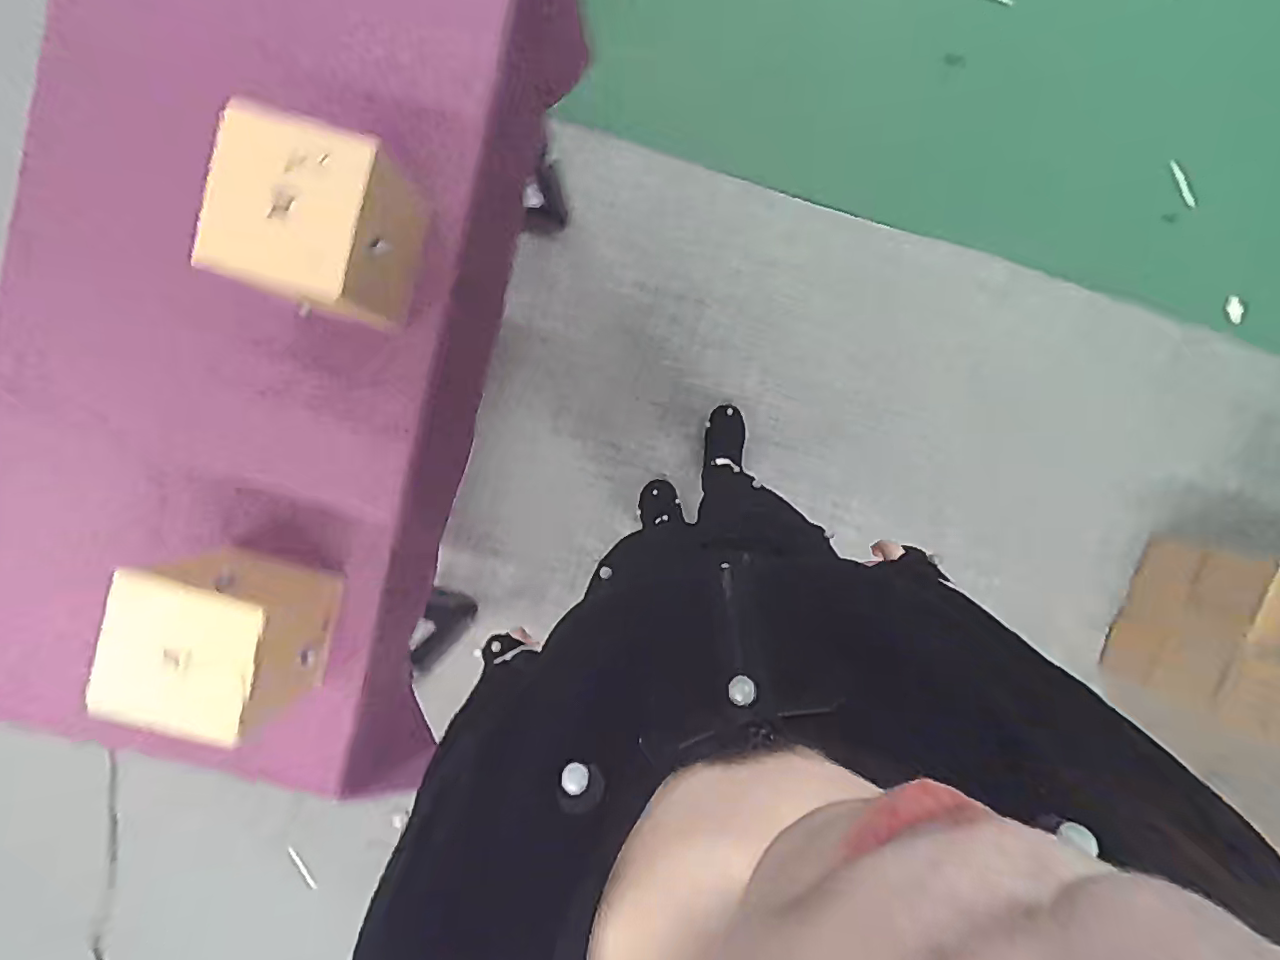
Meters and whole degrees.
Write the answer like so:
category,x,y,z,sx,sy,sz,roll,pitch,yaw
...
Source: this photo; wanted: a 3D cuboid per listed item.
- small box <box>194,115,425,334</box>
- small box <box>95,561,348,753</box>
category,x,y,z,sx,sy,sz,roll,pitch,yaw
small box,-0.387,-0.294,0.666,0.168,0.176,0.179,14,93,-2
small box,-0.516,0.211,0.692,0.179,0.176,0.168,14,92,-2
